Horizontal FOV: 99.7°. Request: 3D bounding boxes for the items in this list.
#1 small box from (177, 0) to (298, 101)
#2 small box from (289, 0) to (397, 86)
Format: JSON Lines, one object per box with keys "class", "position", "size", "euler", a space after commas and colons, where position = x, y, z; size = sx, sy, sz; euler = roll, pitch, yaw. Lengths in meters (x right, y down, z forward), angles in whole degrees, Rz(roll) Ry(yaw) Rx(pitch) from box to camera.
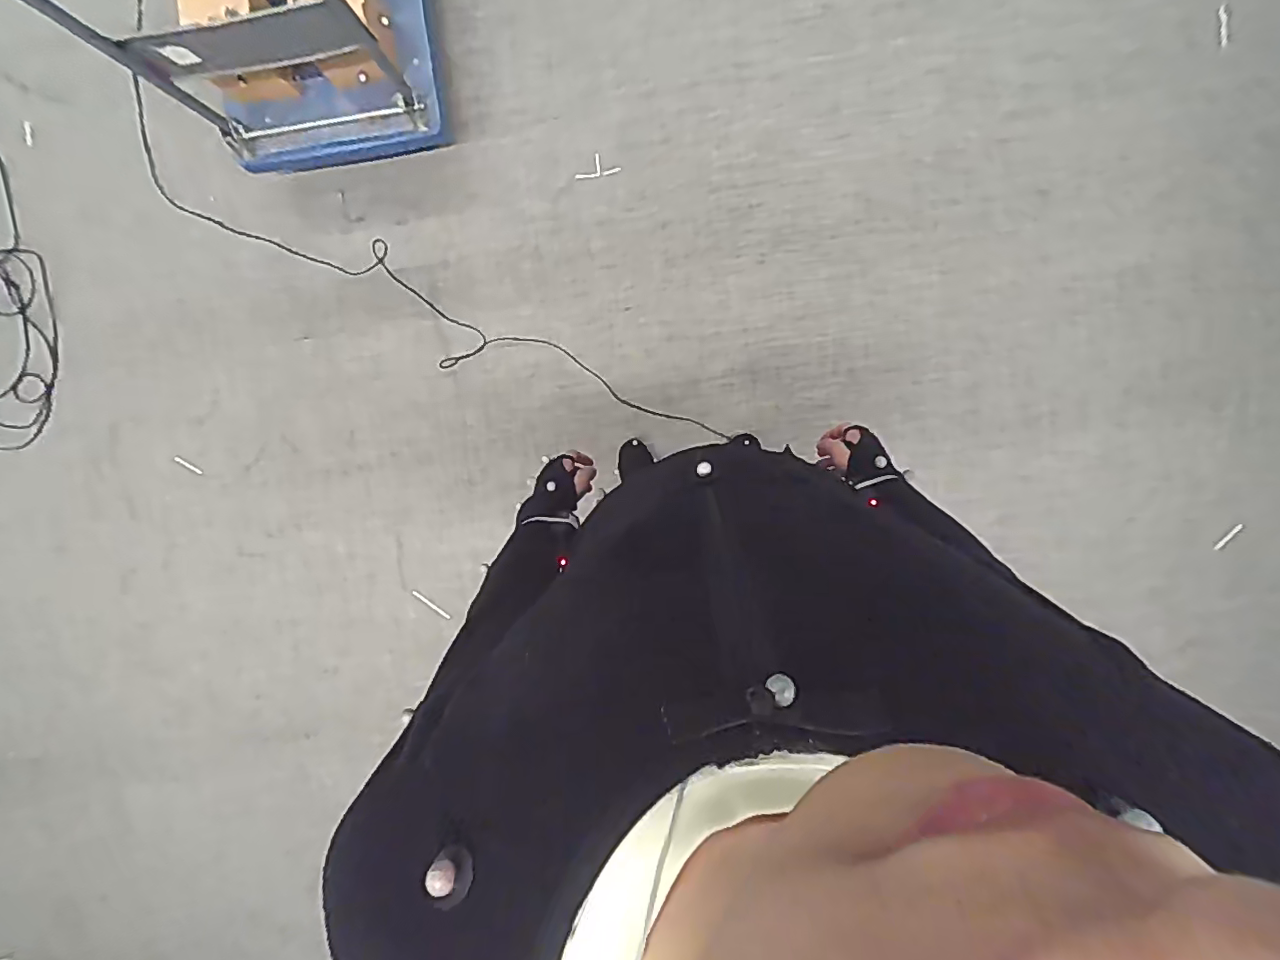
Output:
{"class": "small box", "position": [-0.975, -1.072, 1.328], "size": [0.179, 0.176, 0.168], "euler": [-4, 95, 3]}
{"class": "small box", "position": [-0.714, -1.104, 1.314], "size": [0.179, 0.176, 0.168], "euler": [-9, 95, 3]}
